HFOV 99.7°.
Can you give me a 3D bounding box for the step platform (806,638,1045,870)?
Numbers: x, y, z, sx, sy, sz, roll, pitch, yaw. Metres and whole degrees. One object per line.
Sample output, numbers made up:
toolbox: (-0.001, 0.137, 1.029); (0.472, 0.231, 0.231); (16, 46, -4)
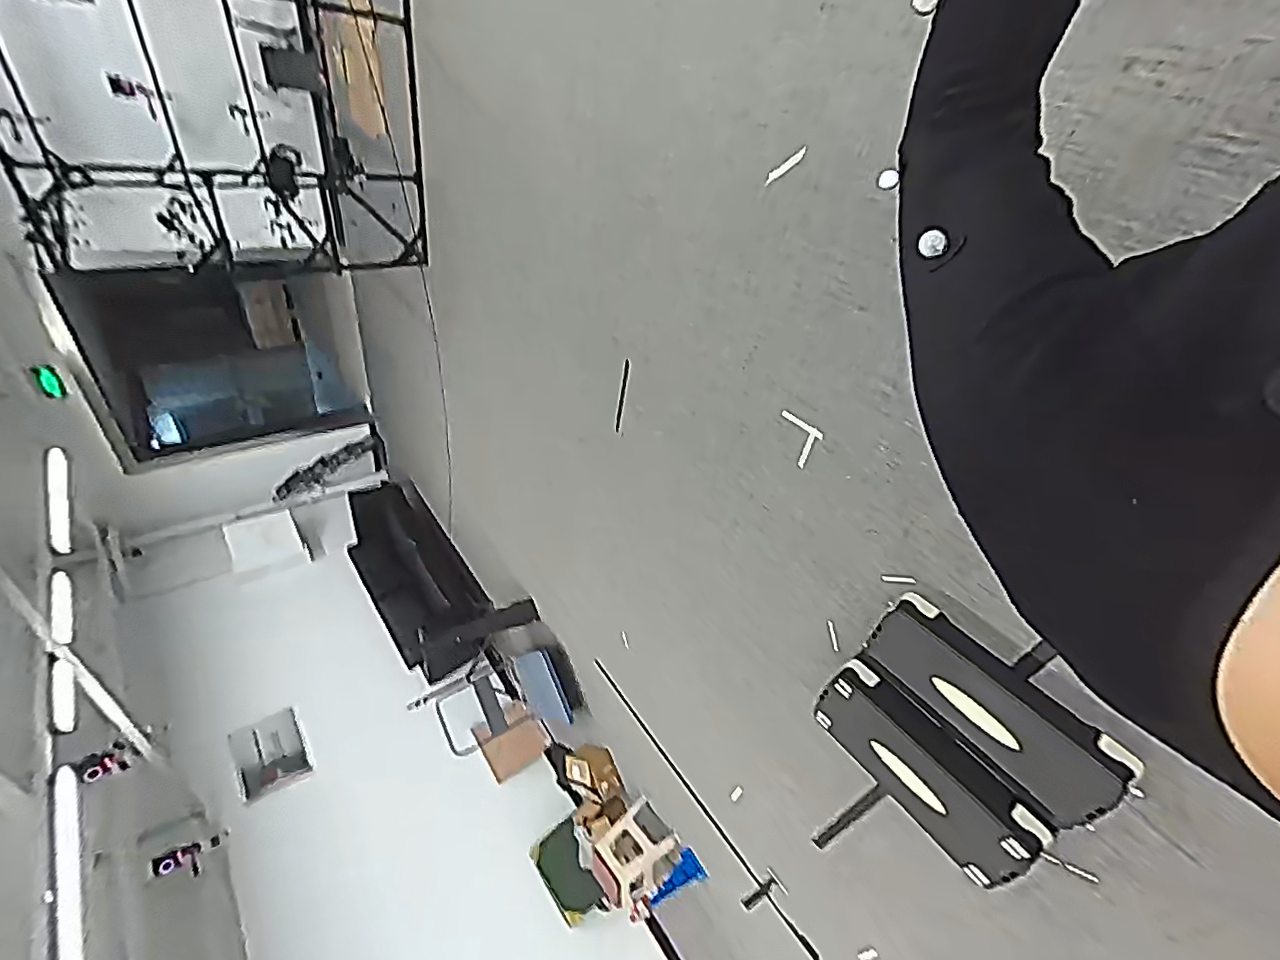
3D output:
step platform: (0.873, 0.857, 1.743); (0.684, 0.204, 0.286); (43, 138, 35)
